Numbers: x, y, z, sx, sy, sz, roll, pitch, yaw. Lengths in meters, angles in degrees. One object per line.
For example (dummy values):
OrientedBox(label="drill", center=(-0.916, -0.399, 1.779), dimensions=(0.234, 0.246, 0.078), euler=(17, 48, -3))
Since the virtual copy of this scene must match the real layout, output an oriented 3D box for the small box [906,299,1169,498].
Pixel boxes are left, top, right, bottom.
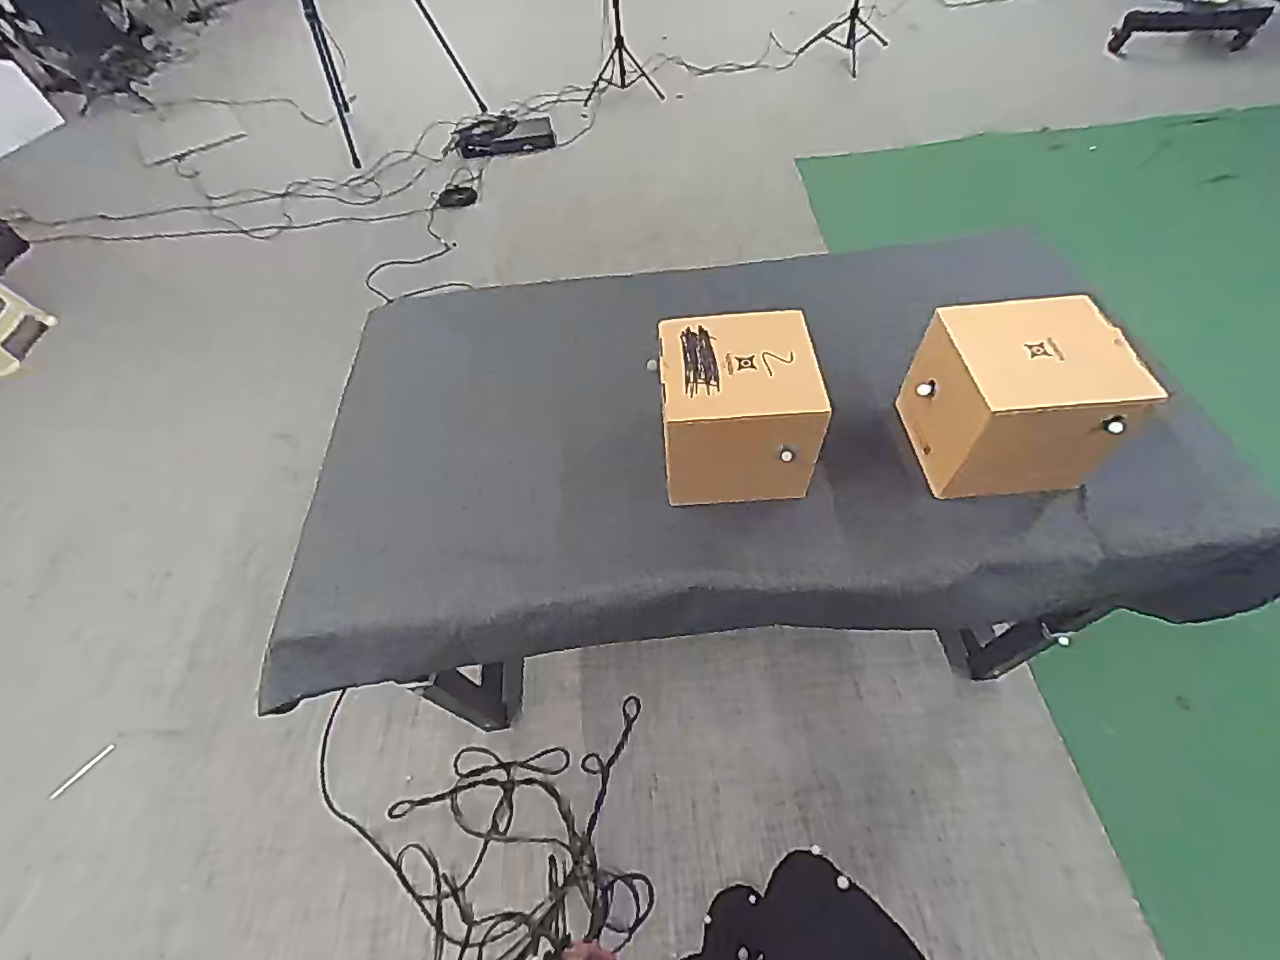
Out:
OrientedBox(label="small box", center=(0.442, -0.090, 0.647), dimensions=(0.179, 0.176, 0.168), euler=(-4, 55, 2))
